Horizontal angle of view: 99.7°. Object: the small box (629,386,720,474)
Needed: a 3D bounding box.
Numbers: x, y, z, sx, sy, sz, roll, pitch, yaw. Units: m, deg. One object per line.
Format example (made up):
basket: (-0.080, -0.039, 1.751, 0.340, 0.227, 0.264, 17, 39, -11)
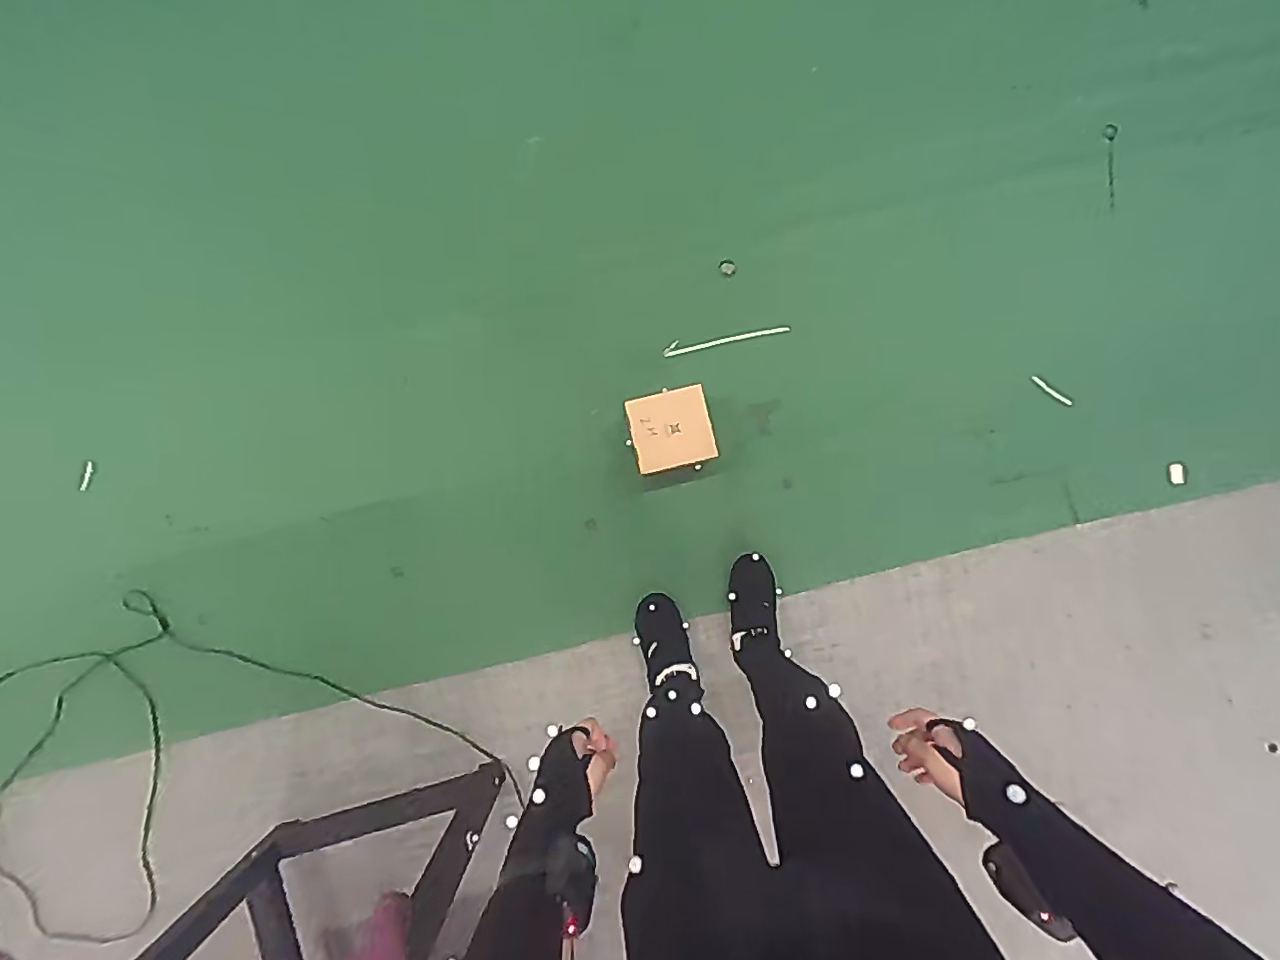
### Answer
small box: (0.074, -0.111, 1.259, 0.179, 0.176, 0.168, -13, 89, 0)
